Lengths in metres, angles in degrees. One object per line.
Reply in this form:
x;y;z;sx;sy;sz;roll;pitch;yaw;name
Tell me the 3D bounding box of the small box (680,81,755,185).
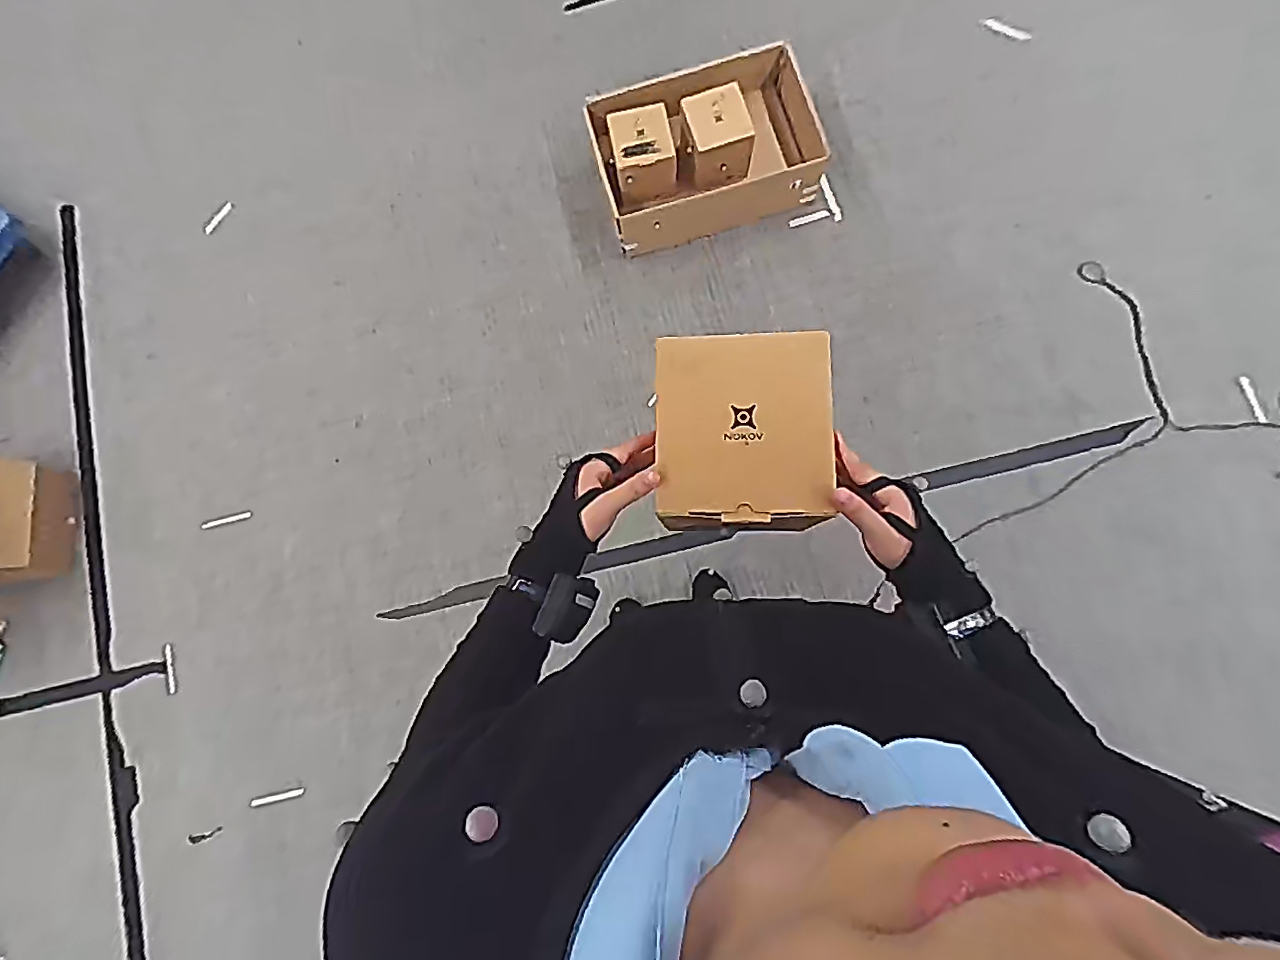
0.220;-0.990;1.563;0.168;0.176;0.179;-17;81;1;small box
